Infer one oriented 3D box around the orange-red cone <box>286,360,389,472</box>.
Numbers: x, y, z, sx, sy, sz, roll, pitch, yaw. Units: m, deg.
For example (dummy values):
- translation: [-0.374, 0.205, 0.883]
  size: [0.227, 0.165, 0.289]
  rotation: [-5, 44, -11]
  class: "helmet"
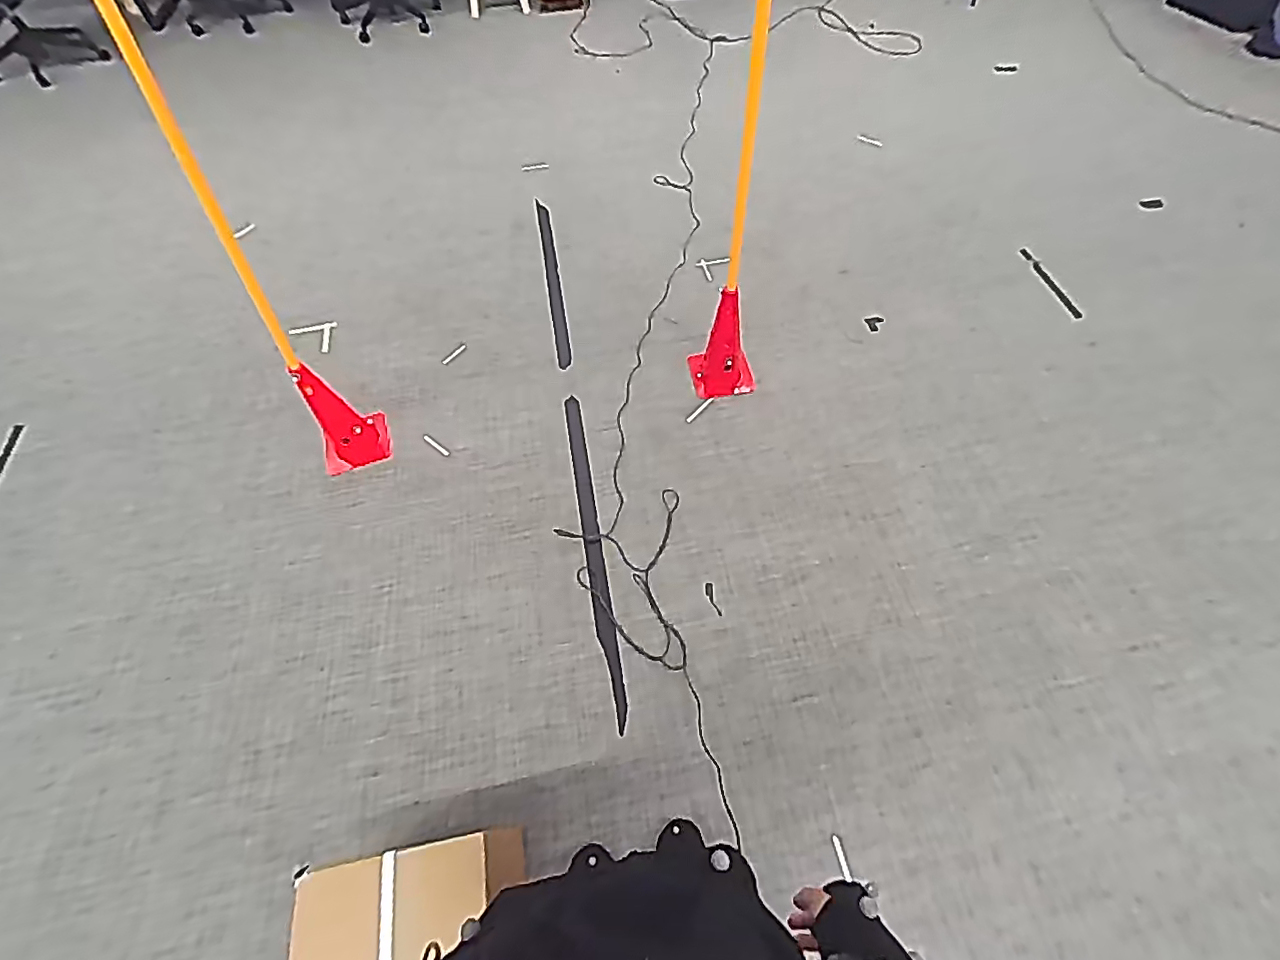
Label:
- translation: [-0.914, -0.212, 1.580]
  size: [0.199, 0.360, 0.198]
  rotation: [-19, 59, -8]
  class: "orange-red cone"
